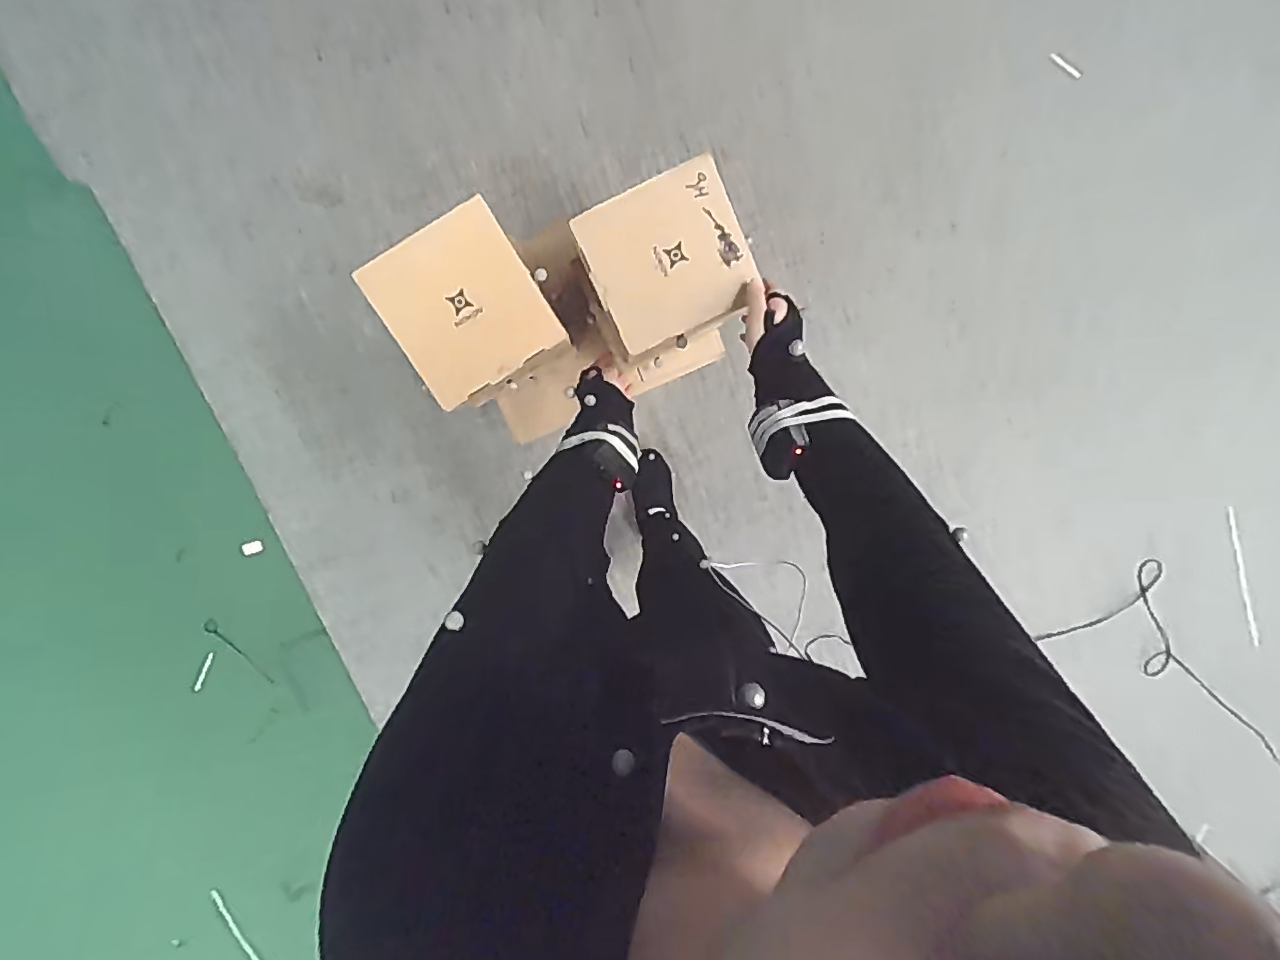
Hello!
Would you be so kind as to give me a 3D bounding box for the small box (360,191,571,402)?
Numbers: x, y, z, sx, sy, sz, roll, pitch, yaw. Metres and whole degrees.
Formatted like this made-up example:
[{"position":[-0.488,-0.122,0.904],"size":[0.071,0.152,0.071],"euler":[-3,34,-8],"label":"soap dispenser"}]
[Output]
[{"position":[-0.200,-0.213,0.675],"size":[0.168,0.176,0.179],"euler":[-31,102,0],"label":"small box"}]
